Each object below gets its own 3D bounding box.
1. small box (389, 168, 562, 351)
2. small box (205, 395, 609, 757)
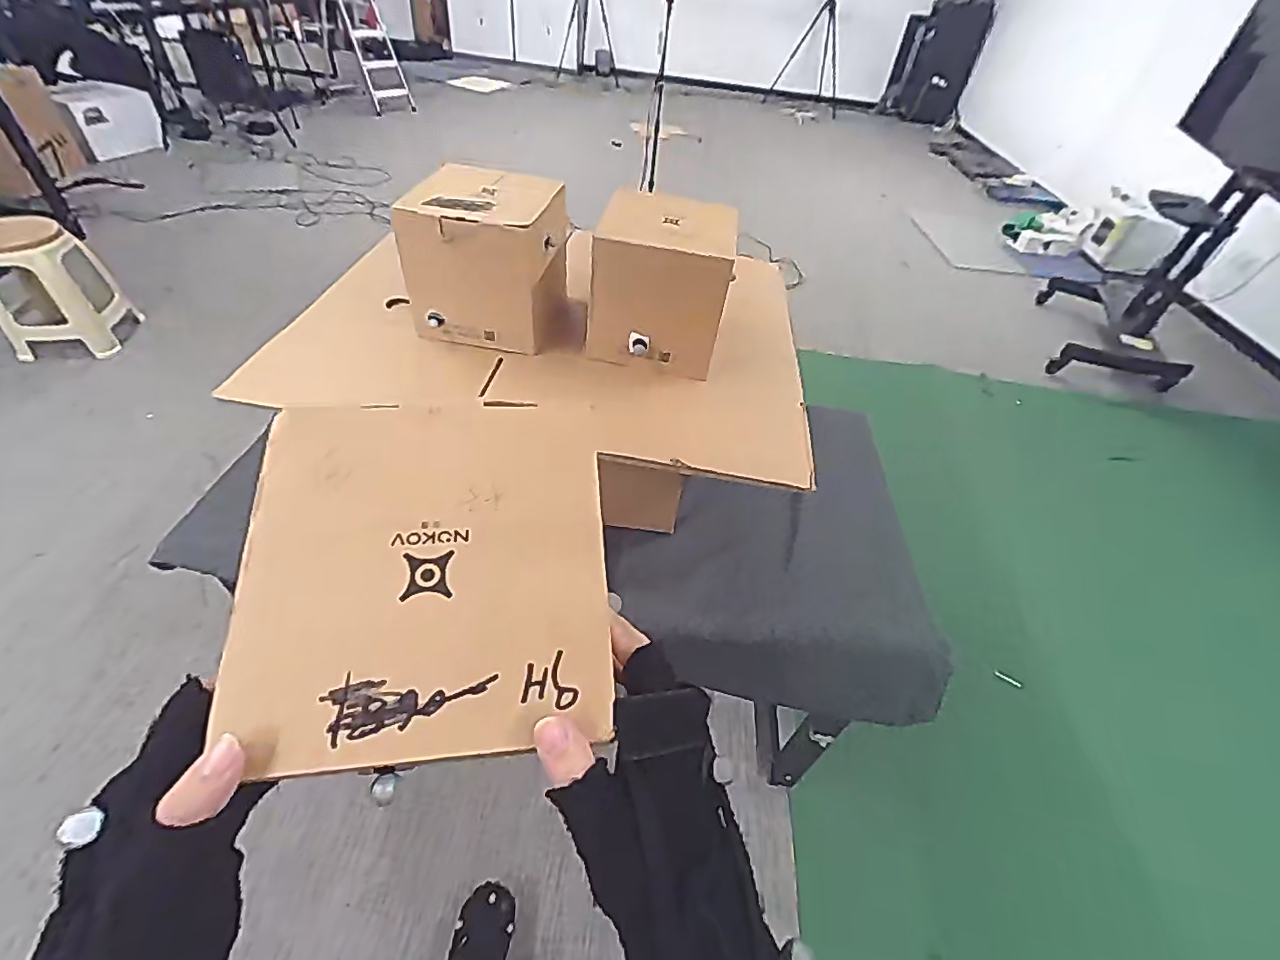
[{"bbox_3d":[-0.203,-0.295,0.730,0.168,0.176,0.179,10,45,2],"label":"small box"},{"bbox_3d":[-0.110,0.067,0.335,0.168,0.176,0.179,-3,63,-7],"label":"small box"}]
